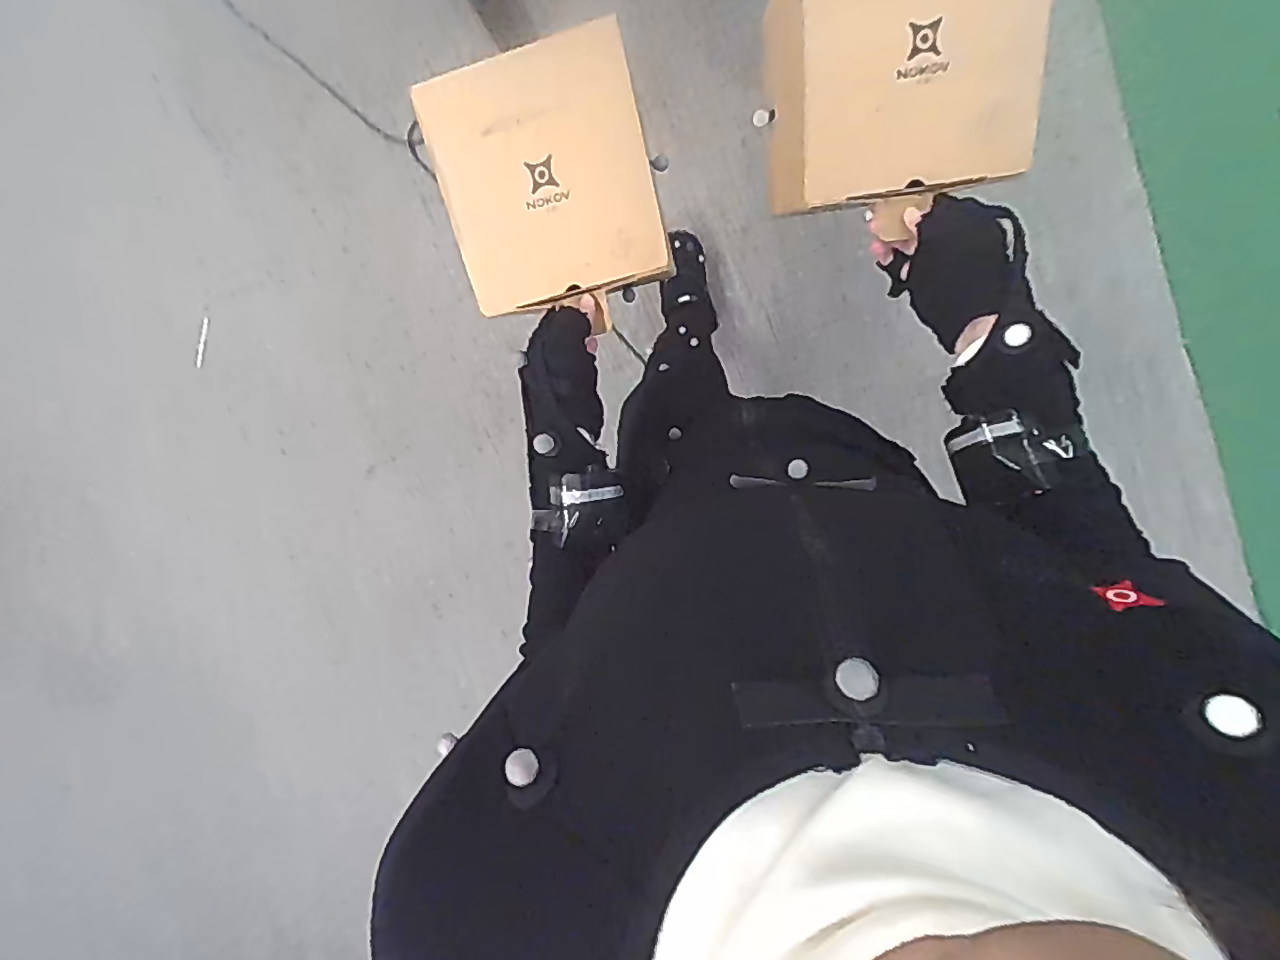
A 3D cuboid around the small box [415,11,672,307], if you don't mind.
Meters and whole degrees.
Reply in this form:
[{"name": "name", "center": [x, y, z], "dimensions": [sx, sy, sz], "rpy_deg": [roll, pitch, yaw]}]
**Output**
[{"name": "small box", "center": [-0.068, -0.271, 0.505], "dimensions": [0.168, 0.176, 0.179], "rpy_deg": [-13, 106, 9]}]
